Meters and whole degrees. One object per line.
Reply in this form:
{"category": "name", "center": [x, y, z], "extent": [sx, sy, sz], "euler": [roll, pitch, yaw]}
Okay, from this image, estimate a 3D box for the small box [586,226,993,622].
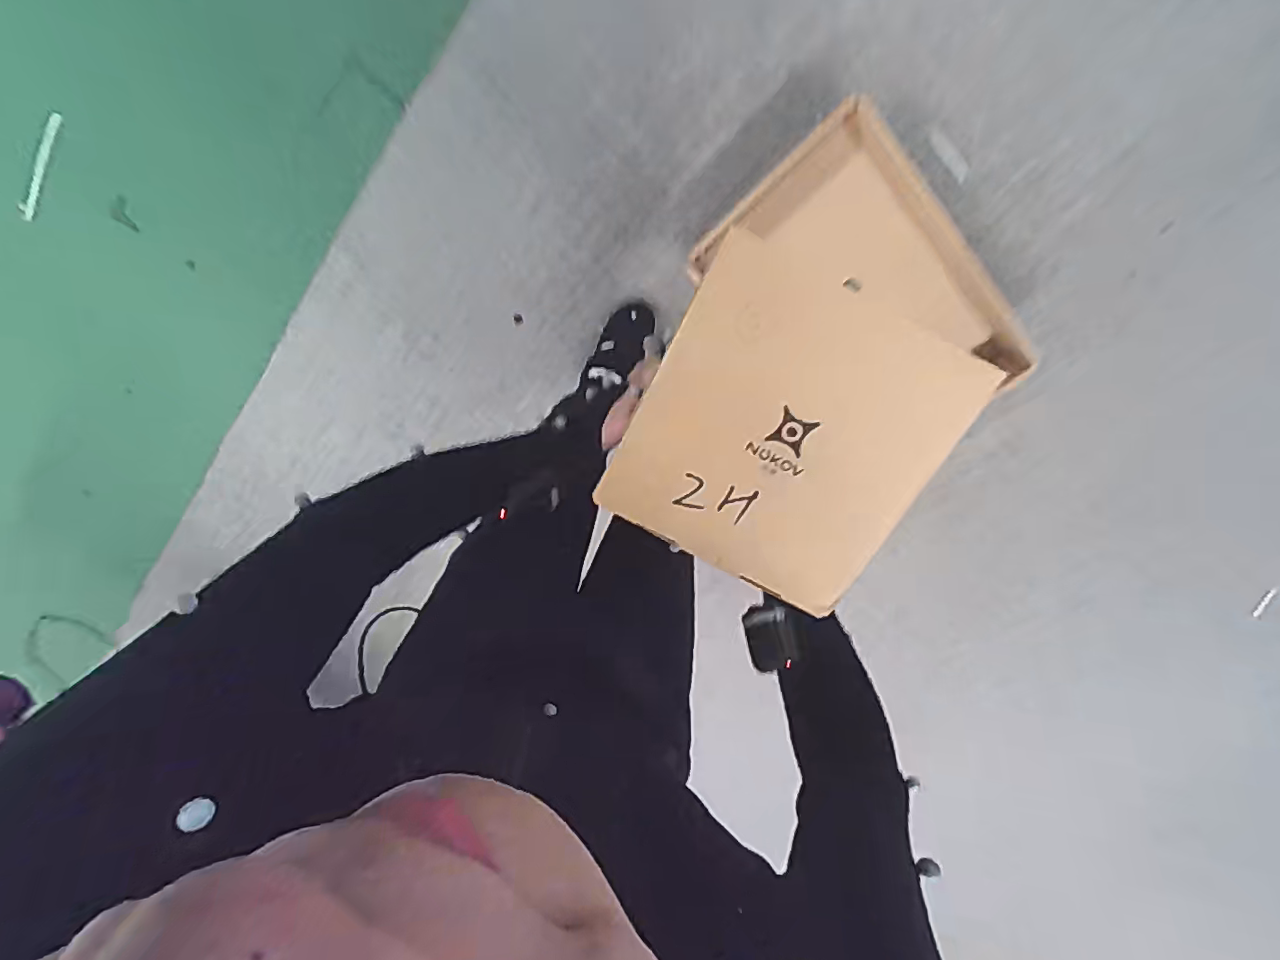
{"category": "small box", "center": [0.082, -0.044, 0.376], "extent": [0.168, 0.176, 0.179], "euler": [27, 109, -2]}
